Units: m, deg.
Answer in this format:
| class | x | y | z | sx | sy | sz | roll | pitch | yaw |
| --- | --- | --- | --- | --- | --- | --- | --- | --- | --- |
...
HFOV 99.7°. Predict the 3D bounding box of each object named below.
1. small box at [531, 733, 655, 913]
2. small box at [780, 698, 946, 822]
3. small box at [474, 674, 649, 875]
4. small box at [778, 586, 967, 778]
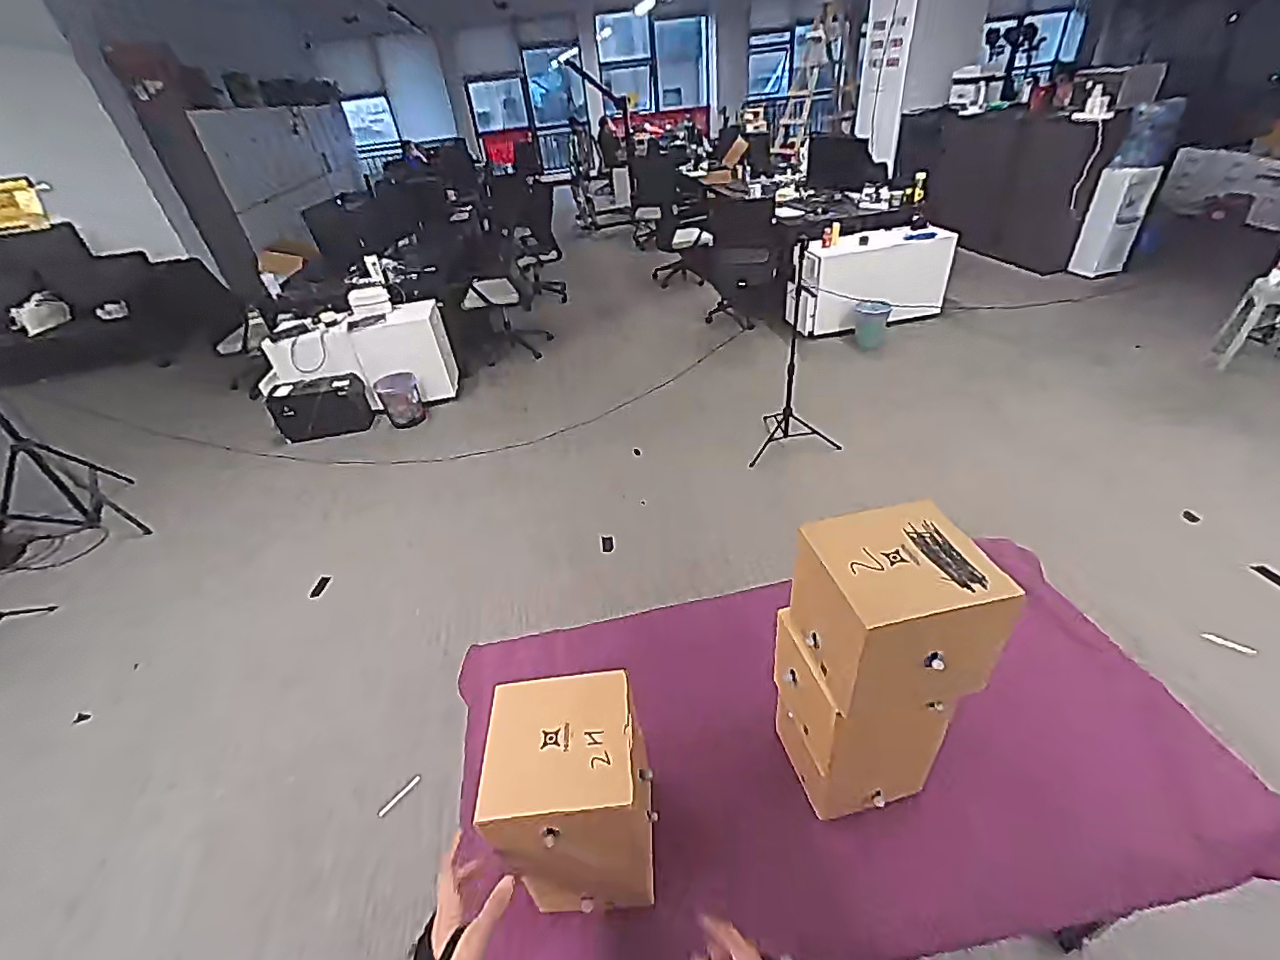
| class | x | y | z | sx | sy | sz | roll | pitch | yaw |
| --- | --- | --- | --- | --- | --- | --- | --- | --- | --- |
| small box | -0.066 | 0.497 | 0.789 | 0.168 | 0.176 | 0.179 | -5 | 37 | 3 |
| small box | 0.336 | 0.401 | 0.854 | 0.179 | 0.176 | 0.168 | -12 | 35 | -7 |
| small box | -0.086 | 0.372 | 0.683 | 0.179 | 0.176 | 0.168 | -6 | 37 | 1 |
| small box | 0.304 | 0.279 | 0.749 | 0.179 | 0.176 | 0.168 | -12 | 36 | -7 |
